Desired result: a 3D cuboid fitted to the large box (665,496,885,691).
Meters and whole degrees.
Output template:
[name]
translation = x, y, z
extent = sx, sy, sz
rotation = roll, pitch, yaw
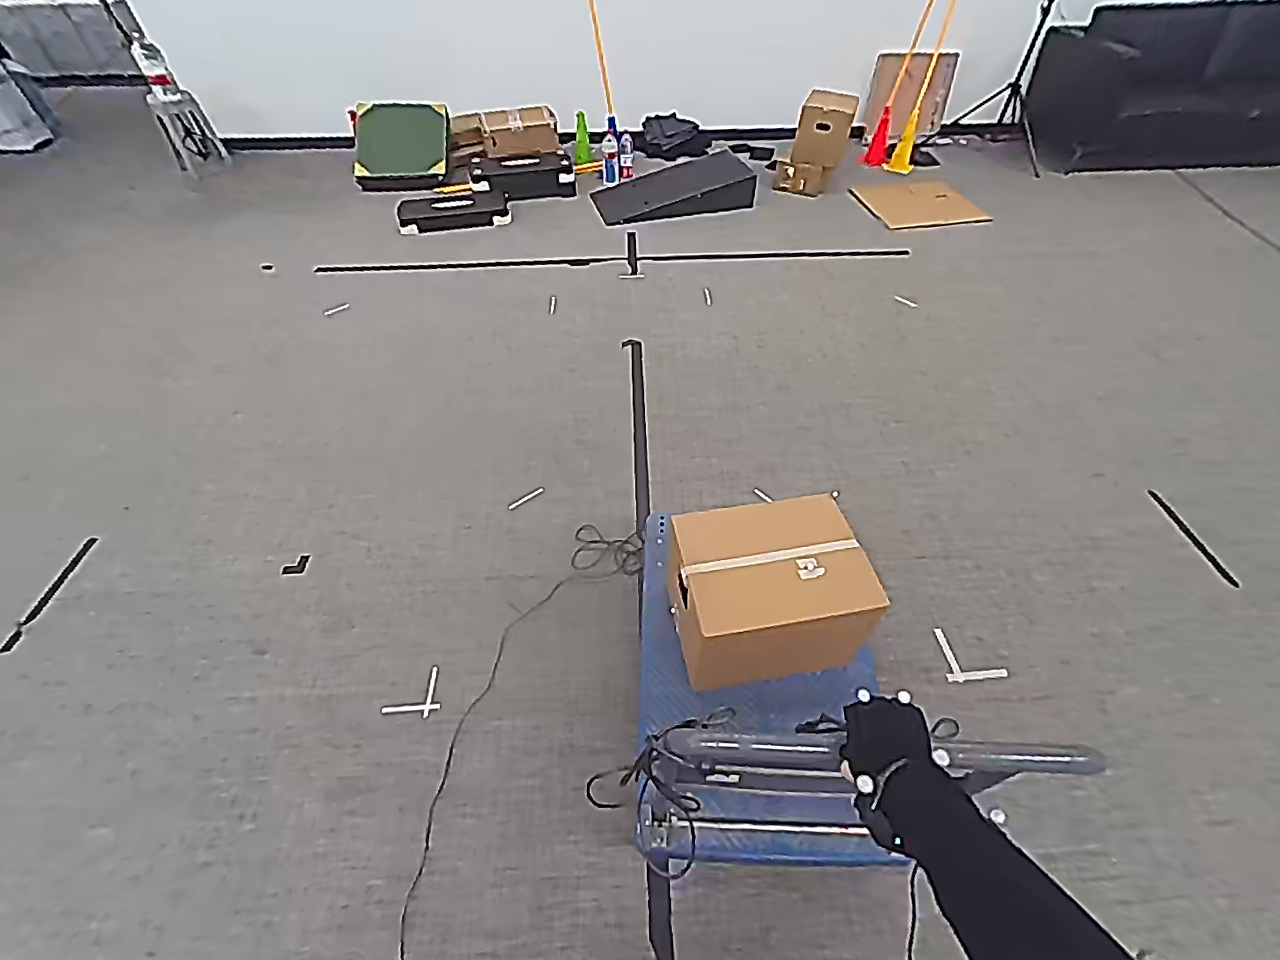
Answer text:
[large box]
translation = 0.292, 0.275, 1.309
extent = 0.408, 0.320, 0.320
rotation = -7, 49, -7
